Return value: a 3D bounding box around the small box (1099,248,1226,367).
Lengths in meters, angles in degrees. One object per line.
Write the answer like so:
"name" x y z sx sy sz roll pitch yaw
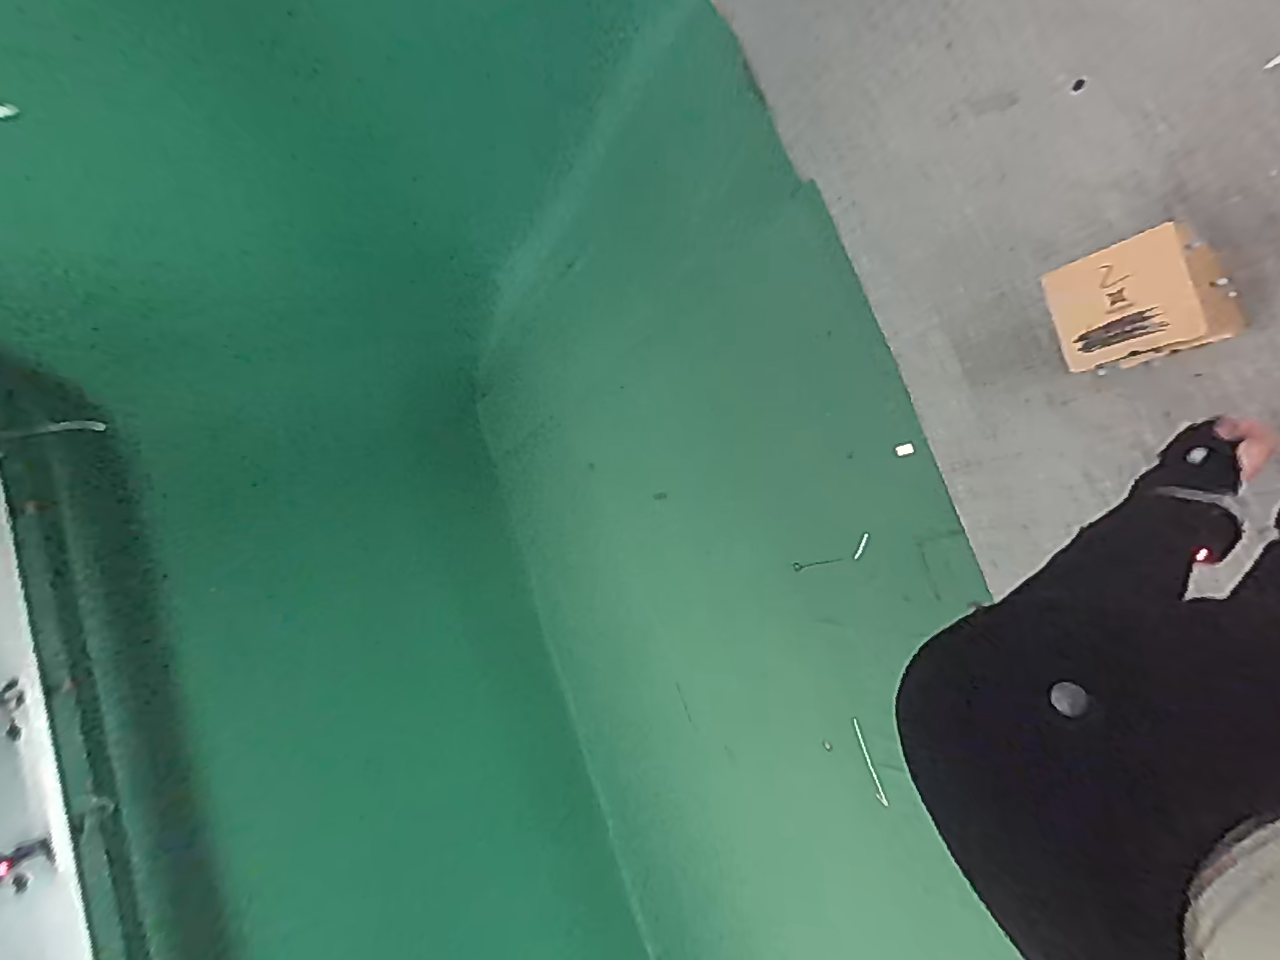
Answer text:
"small box" 1.044 -0.345 1.097 0.168 0.176 0.179 -19 84 52

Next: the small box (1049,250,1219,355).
"small box" 0.917 -0.333 1.007 0.179 0.176 0.168 28 124 45
